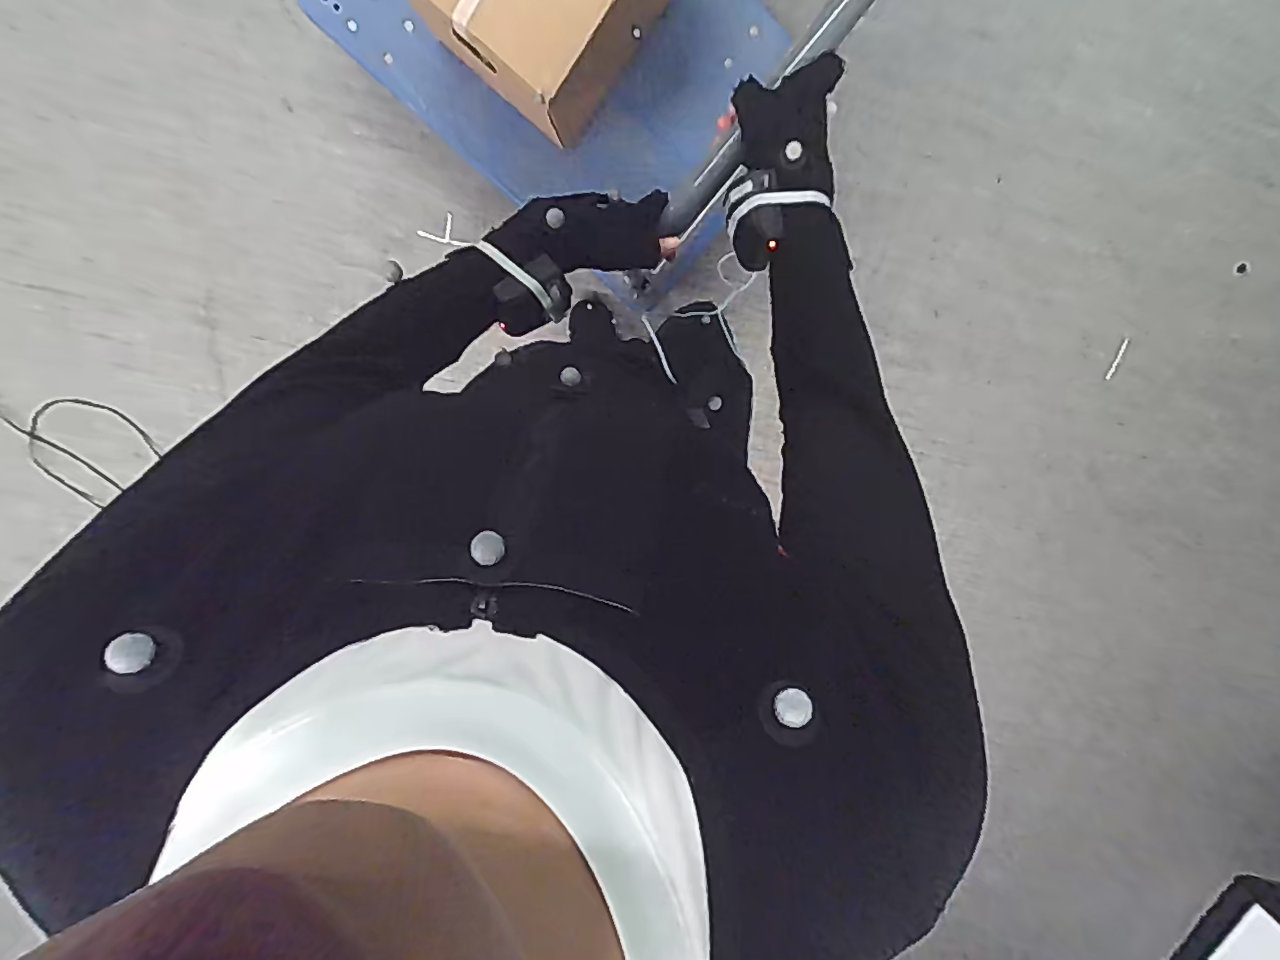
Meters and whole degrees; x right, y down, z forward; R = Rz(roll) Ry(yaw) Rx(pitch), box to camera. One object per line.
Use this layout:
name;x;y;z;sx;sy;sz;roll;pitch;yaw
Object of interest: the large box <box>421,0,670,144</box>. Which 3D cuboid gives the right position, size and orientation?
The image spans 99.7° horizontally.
large box;-0.124;-0.860;0.877;0.320;0.320;0.408;36;107;-12
